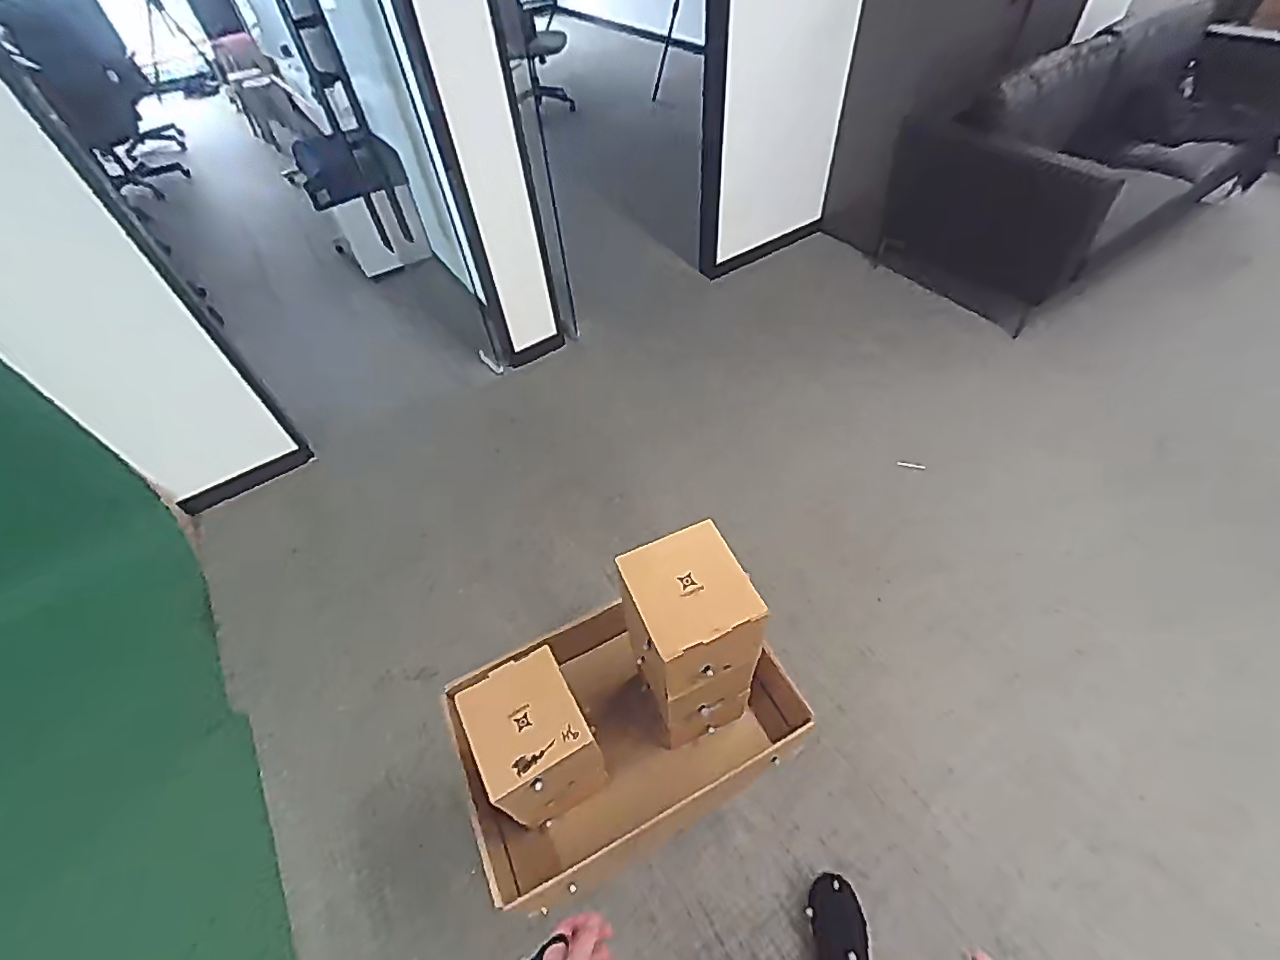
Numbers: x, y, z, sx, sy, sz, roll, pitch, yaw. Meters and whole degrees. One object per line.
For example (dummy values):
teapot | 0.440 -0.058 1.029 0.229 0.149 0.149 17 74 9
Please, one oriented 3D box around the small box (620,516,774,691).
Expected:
small box | 0.079 0.191 0.829 0.168 0.176 0.179 -21 53 -12

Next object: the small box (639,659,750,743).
small box | 0.100 0.393 1.083 0.168 0.176 0.179 -20 53 -12

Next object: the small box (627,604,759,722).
small box | 0.087 0.294 0.954 0.168 0.176 0.179 -21 53 -12

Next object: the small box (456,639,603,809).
small box | -0.175 0.400 0.884 0.168 0.176 0.179 -26 54 -15
